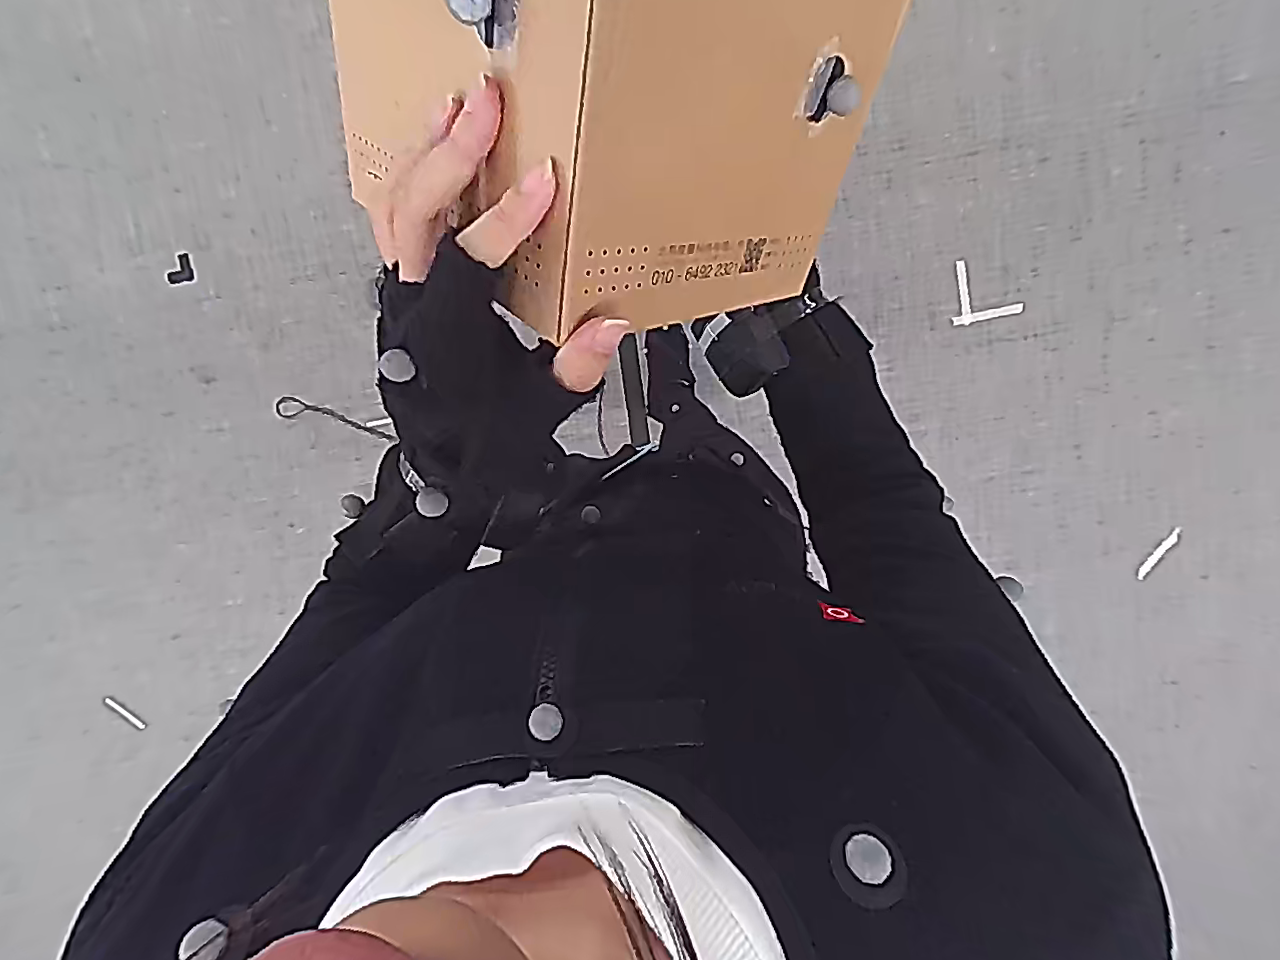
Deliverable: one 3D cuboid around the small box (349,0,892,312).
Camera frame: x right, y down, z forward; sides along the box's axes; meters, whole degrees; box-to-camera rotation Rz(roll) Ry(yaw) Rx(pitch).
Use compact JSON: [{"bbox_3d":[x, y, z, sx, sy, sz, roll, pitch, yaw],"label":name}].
[{"bbox_3d":[-0.011,-0.184,0.239,0.179,0.168,0.176,40,134,30],"label":"small box"}]
